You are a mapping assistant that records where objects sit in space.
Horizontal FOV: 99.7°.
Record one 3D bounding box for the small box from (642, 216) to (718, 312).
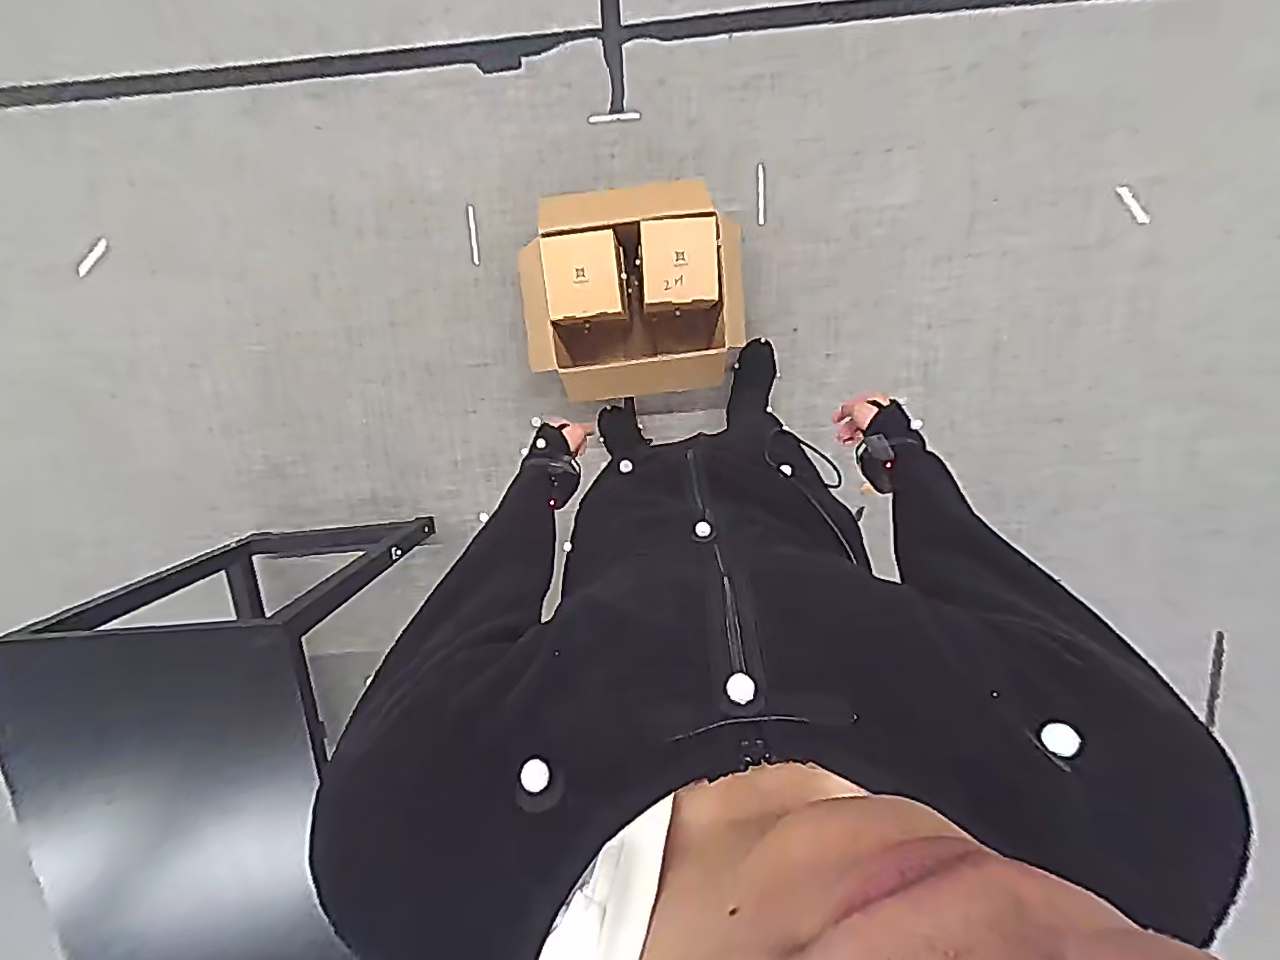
[{"bbox_3d":[0.088,-0.493,1.253,0.168,0.176,0.179,-2,101,2],"label":"small box"}]
